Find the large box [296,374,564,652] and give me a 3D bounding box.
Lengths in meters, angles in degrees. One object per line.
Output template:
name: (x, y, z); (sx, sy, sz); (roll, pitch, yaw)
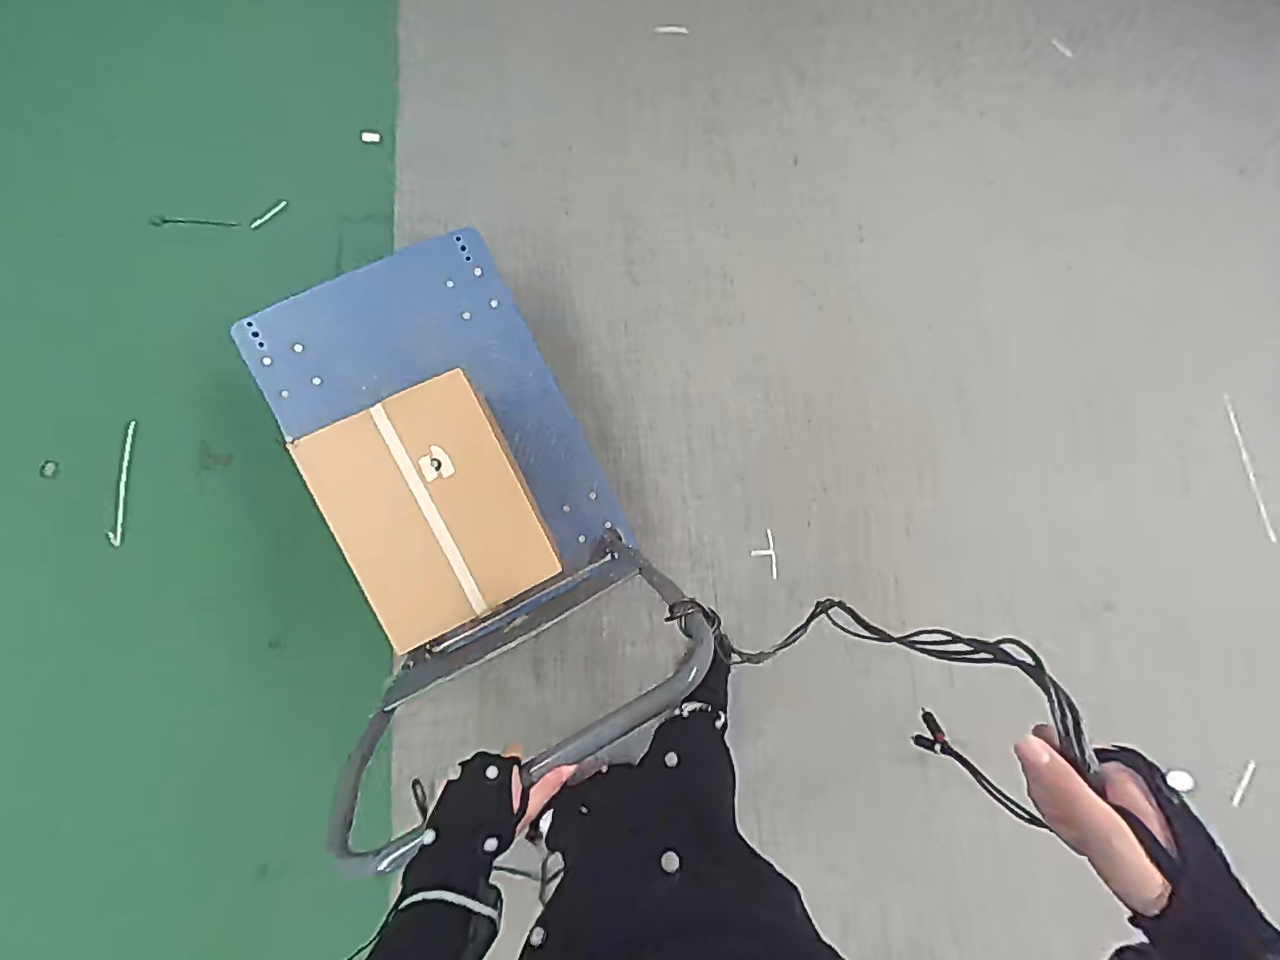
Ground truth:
large box: (-0.377, 0.059, 1.085); (0.320, 0.320, 0.408); (-27, 92, -9)
